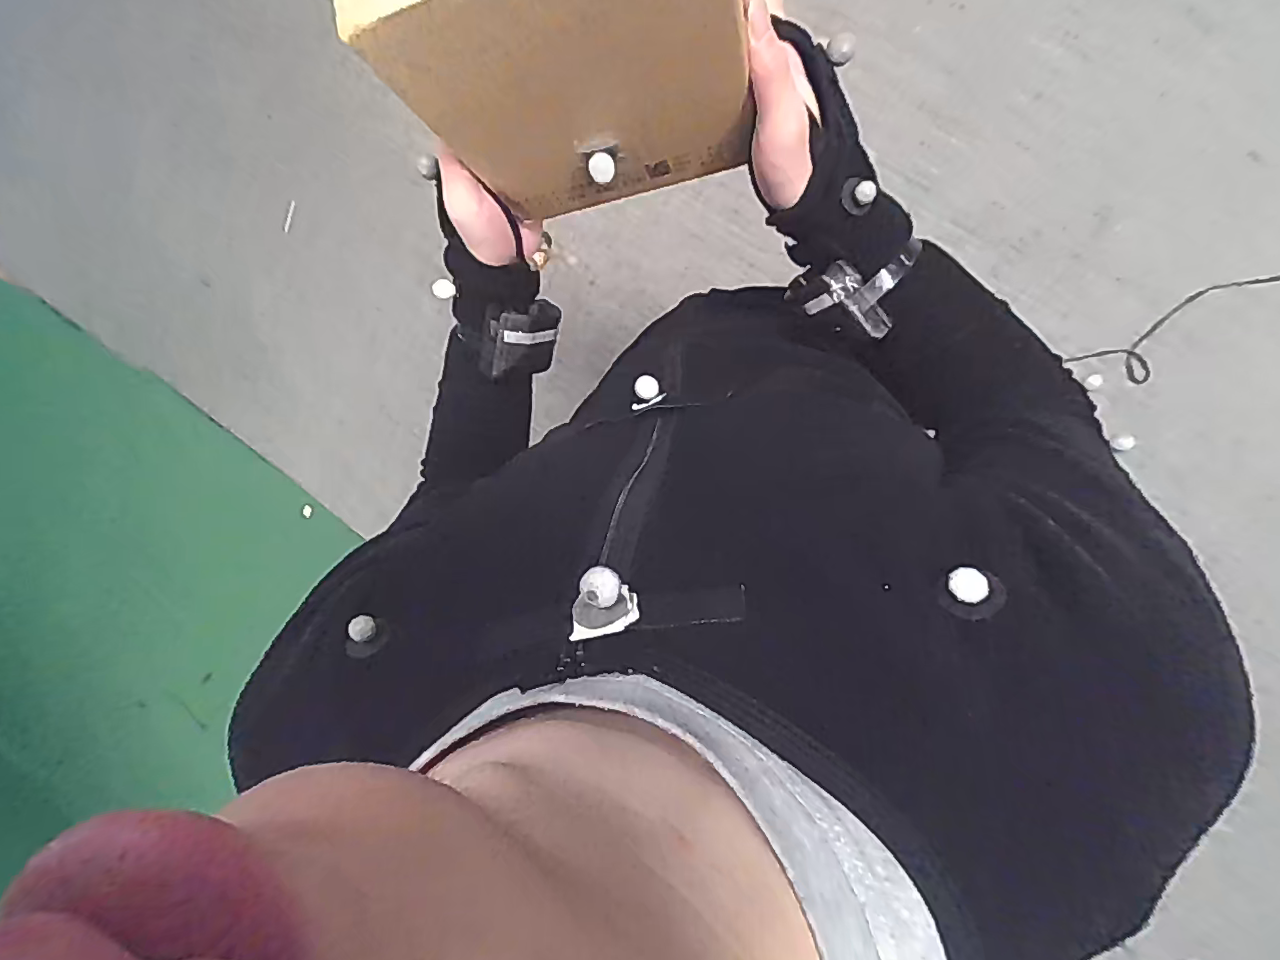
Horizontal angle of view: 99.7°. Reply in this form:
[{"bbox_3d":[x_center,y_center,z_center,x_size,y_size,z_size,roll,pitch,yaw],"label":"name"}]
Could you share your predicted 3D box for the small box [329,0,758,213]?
[{"bbox_3d":[-0.033,-0.276,0.281,0.168,0.176,0.179,-5,88,17],"label":"small box"}]
